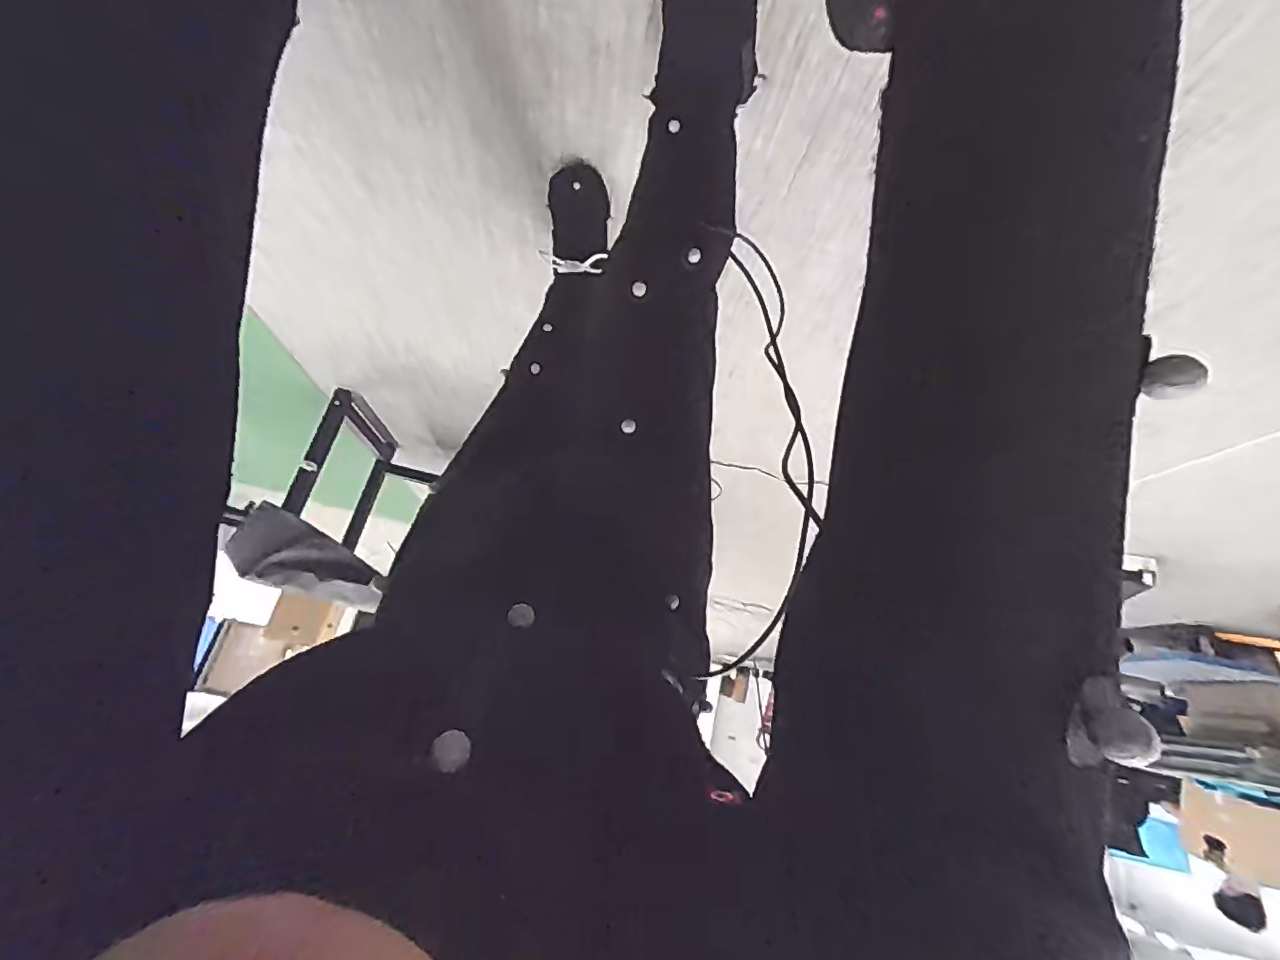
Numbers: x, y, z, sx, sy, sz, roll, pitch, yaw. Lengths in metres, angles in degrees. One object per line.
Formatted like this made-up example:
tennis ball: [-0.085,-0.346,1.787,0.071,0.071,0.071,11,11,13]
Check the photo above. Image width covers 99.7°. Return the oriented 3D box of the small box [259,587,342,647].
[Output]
small box: [-1.160,0.475,1.871,0.179,0.176,0.168,16,158,-7]
